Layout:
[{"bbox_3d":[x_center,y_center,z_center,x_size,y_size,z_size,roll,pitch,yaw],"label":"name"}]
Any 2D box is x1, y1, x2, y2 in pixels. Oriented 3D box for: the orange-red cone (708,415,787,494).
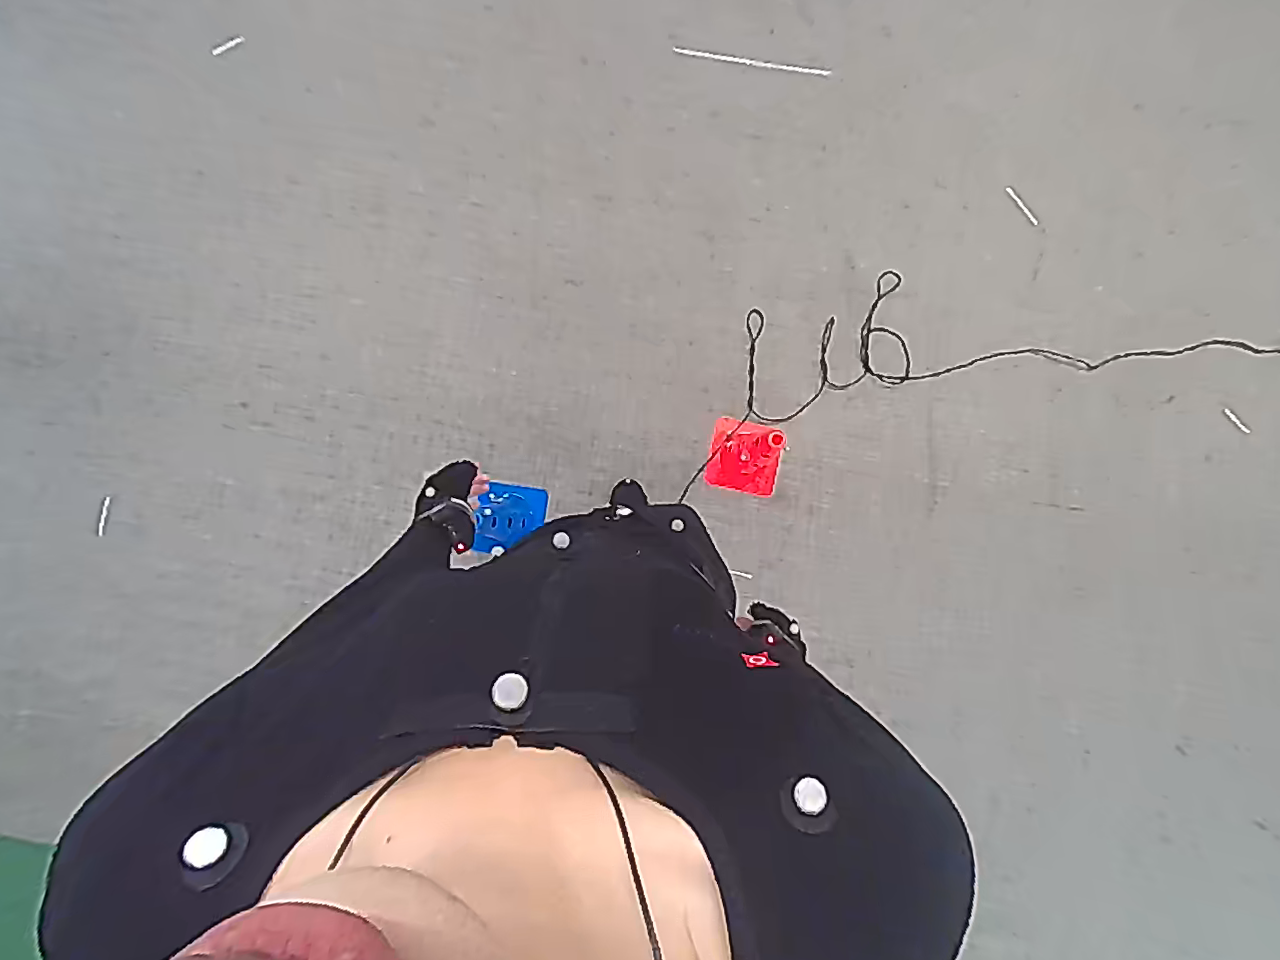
[{"bbox_3d":[0.303,-0.081,1.361,0.198,0.360,0.199,14,88,1],"label":"orange-red cone"}]
